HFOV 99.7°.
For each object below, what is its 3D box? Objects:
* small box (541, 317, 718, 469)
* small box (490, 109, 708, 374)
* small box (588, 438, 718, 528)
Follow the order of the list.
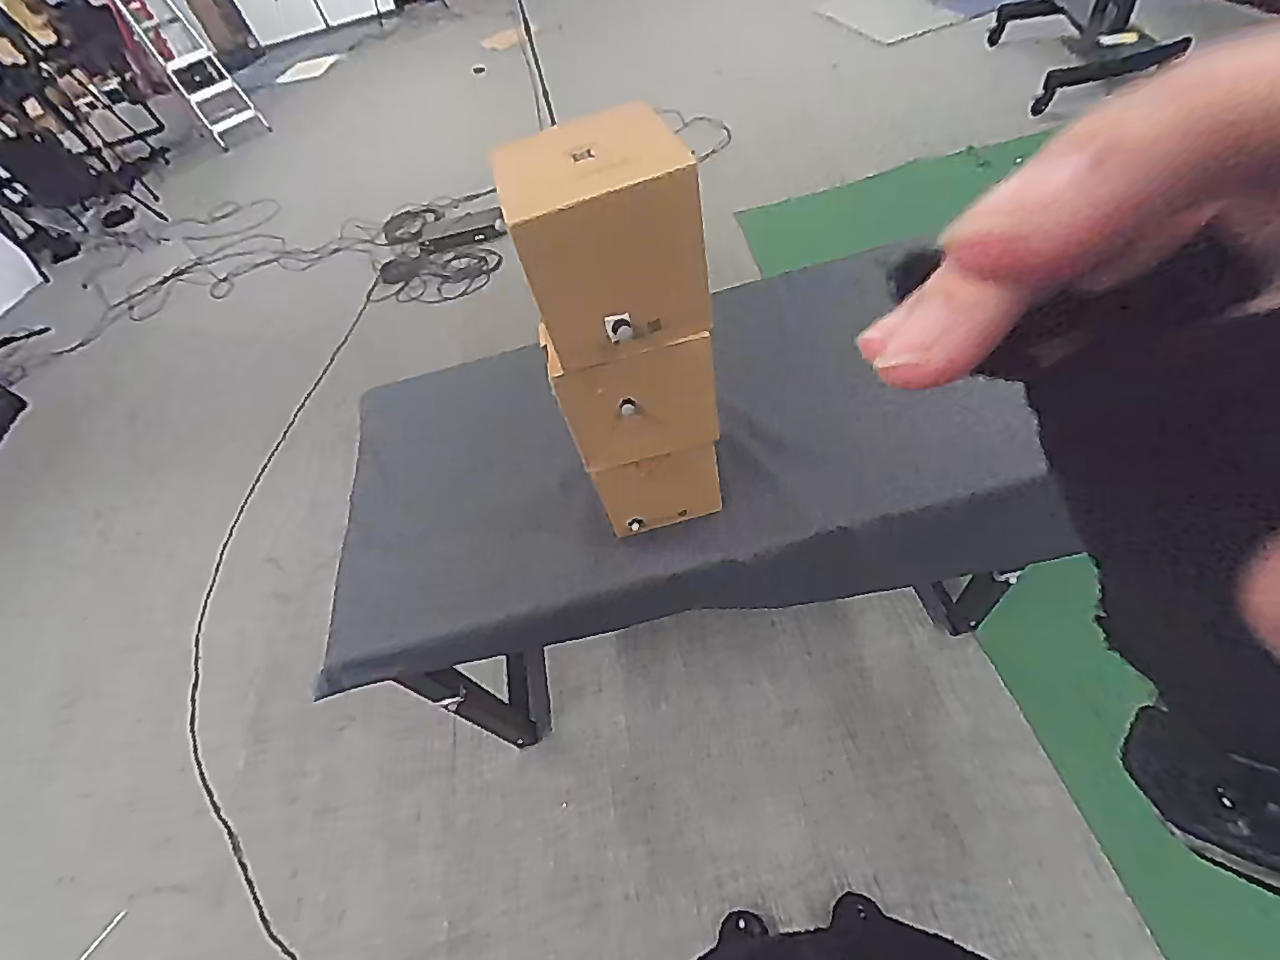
[{"bbox_3d":[-0.011,-0.138,0.686,0.179,0.176,0.168,-16,49,-1],"label":"small box"},{"bbox_3d":[-0.039,-0.242,0.560,0.168,0.176,0.179,-20,52,-1],"label":"small box"},{"bbox_3d":[0.014,-0.046,0.814,0.168,0.176,0.179,-15,50,2],"label":"small box"}]
